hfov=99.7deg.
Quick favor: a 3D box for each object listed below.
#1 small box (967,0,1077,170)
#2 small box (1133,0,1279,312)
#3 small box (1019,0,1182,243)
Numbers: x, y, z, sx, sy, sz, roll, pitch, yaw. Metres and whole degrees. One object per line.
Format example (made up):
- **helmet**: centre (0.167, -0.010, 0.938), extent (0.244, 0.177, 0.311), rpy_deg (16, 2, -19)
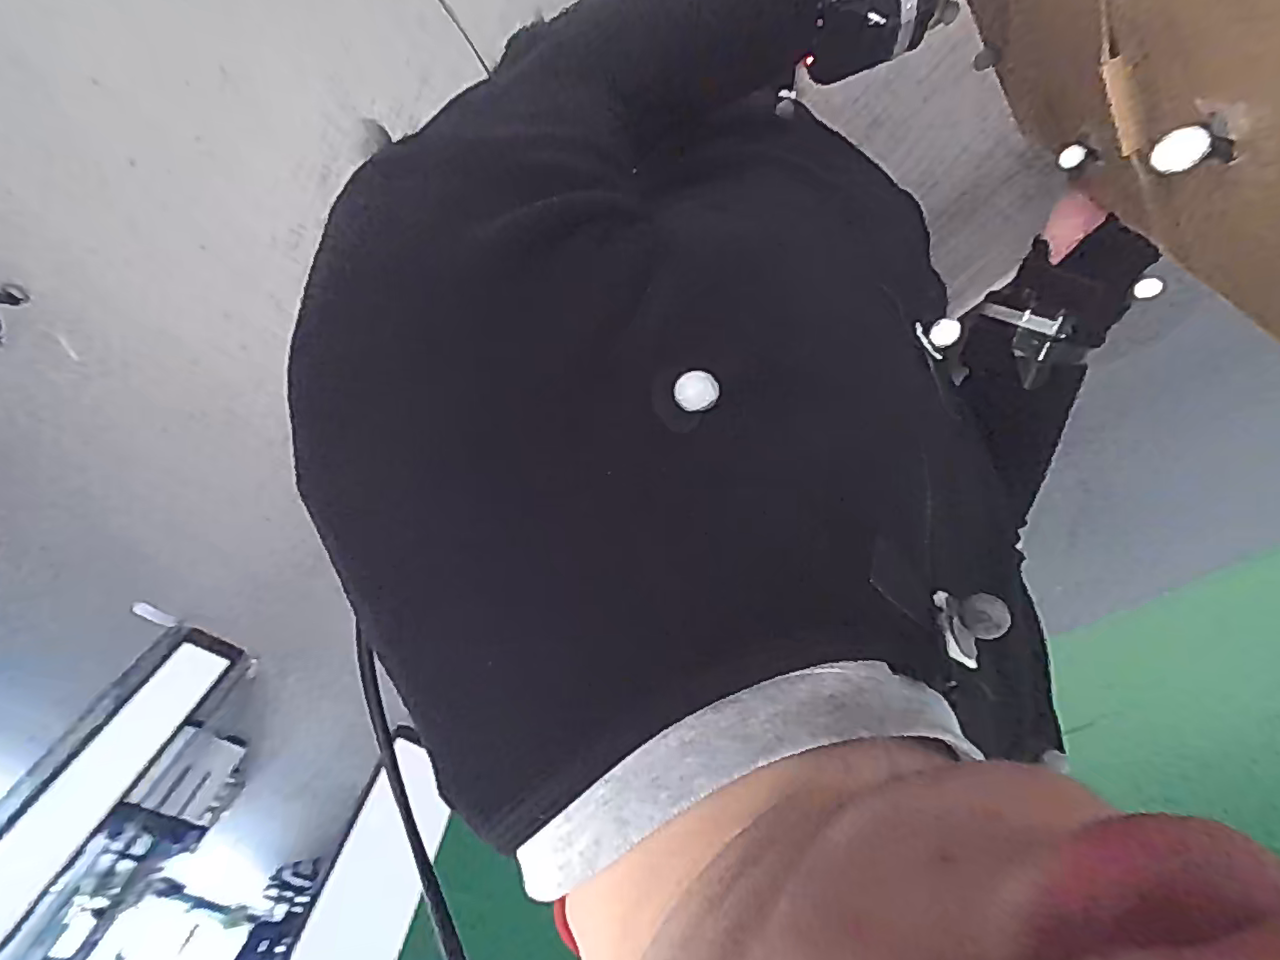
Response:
- **small box**: centre (0.349, -0.360, 0.369), extent (0.179, 0.176, 0.168), rpy_deg (-26, 117, 36)
- **small box**: centre (0.267, -0.146, 0.138), extent (0.179, 0.176, 0.168), rpy_deg (-22, 121, 35)
- **small box**: centre (0.306, -0.254, 0.255), extent (0.179, 0.176, 0.168), rpy_deg (-25, 119, 34)
